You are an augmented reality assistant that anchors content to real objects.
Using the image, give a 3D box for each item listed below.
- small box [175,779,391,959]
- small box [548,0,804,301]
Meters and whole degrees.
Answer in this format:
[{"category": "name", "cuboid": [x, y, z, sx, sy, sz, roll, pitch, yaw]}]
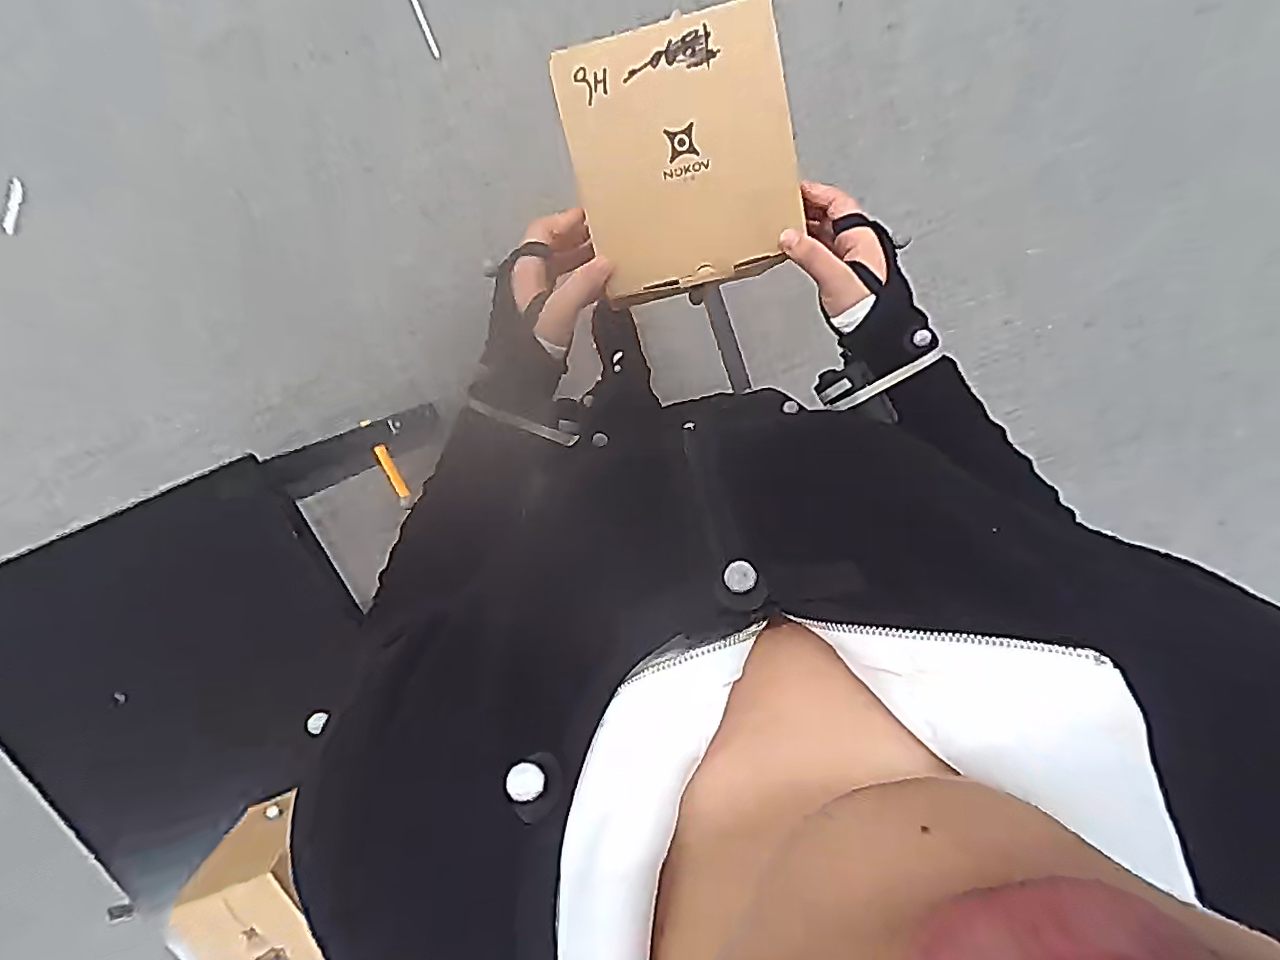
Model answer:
[{"category": "small box", "cuboid": [-0.509, 0.594, 0.805, 0.168, 0.176, 0.179, -23, 103, 5]}, {"category": "small box", "cuboid": [0.032, -0.266, 0.480, 0.168, 0.176, 0.179, -13, 106, 4]}]
